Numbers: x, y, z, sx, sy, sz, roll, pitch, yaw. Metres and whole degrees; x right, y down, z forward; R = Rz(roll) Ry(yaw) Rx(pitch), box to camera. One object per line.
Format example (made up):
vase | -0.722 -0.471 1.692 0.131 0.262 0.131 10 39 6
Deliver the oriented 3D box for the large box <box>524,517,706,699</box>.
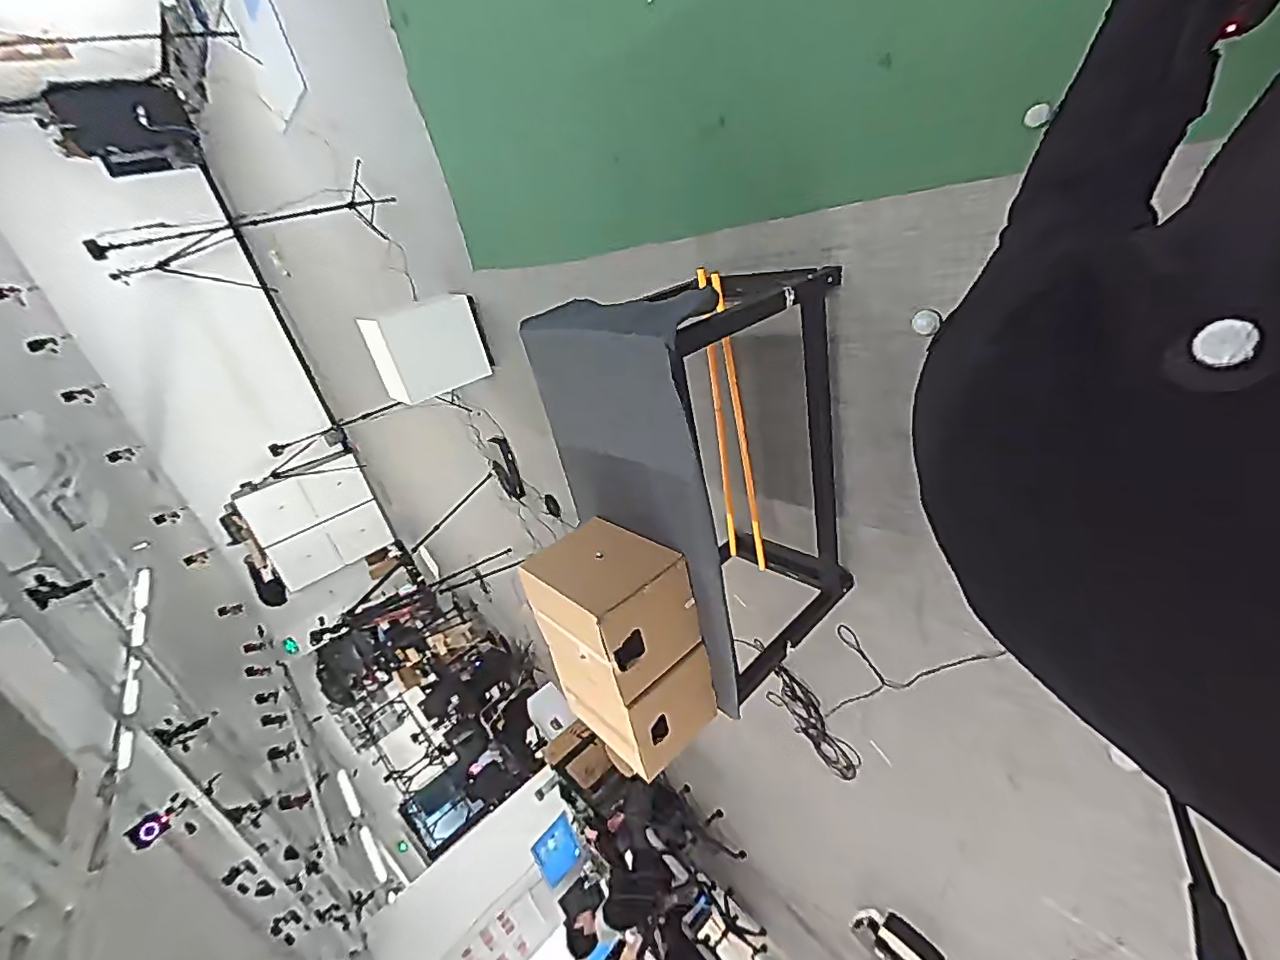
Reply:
large box | -0.073 0.345 1.582 0.408 0.320 0.320 16 129 47
